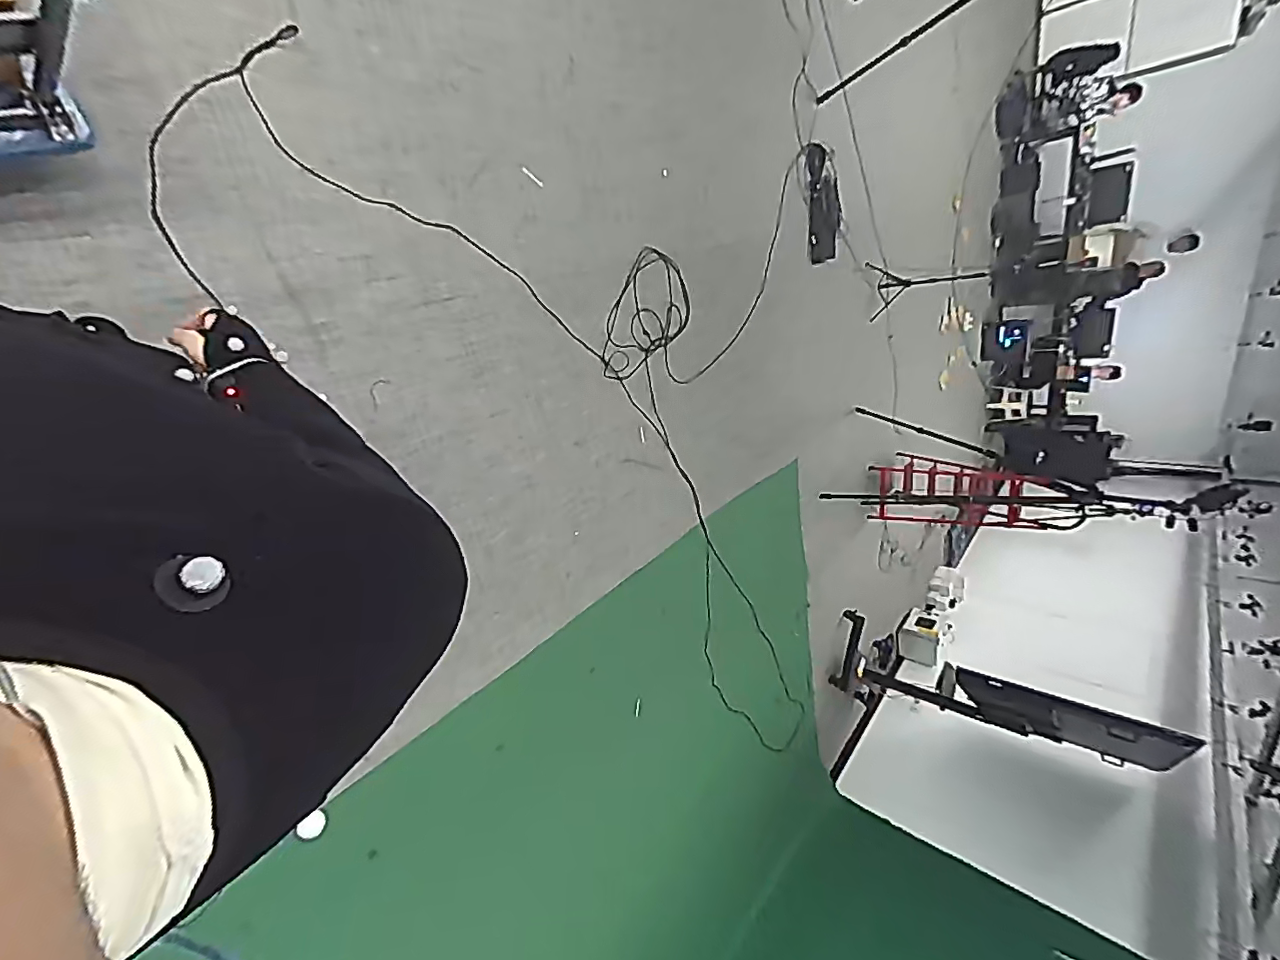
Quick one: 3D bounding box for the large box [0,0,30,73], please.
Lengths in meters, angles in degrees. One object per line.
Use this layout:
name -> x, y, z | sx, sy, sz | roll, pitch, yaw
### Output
large box -> -1.104, -0.778, 0.664 | 0.320, 0.320, 0.408 | -39, 124, -36
